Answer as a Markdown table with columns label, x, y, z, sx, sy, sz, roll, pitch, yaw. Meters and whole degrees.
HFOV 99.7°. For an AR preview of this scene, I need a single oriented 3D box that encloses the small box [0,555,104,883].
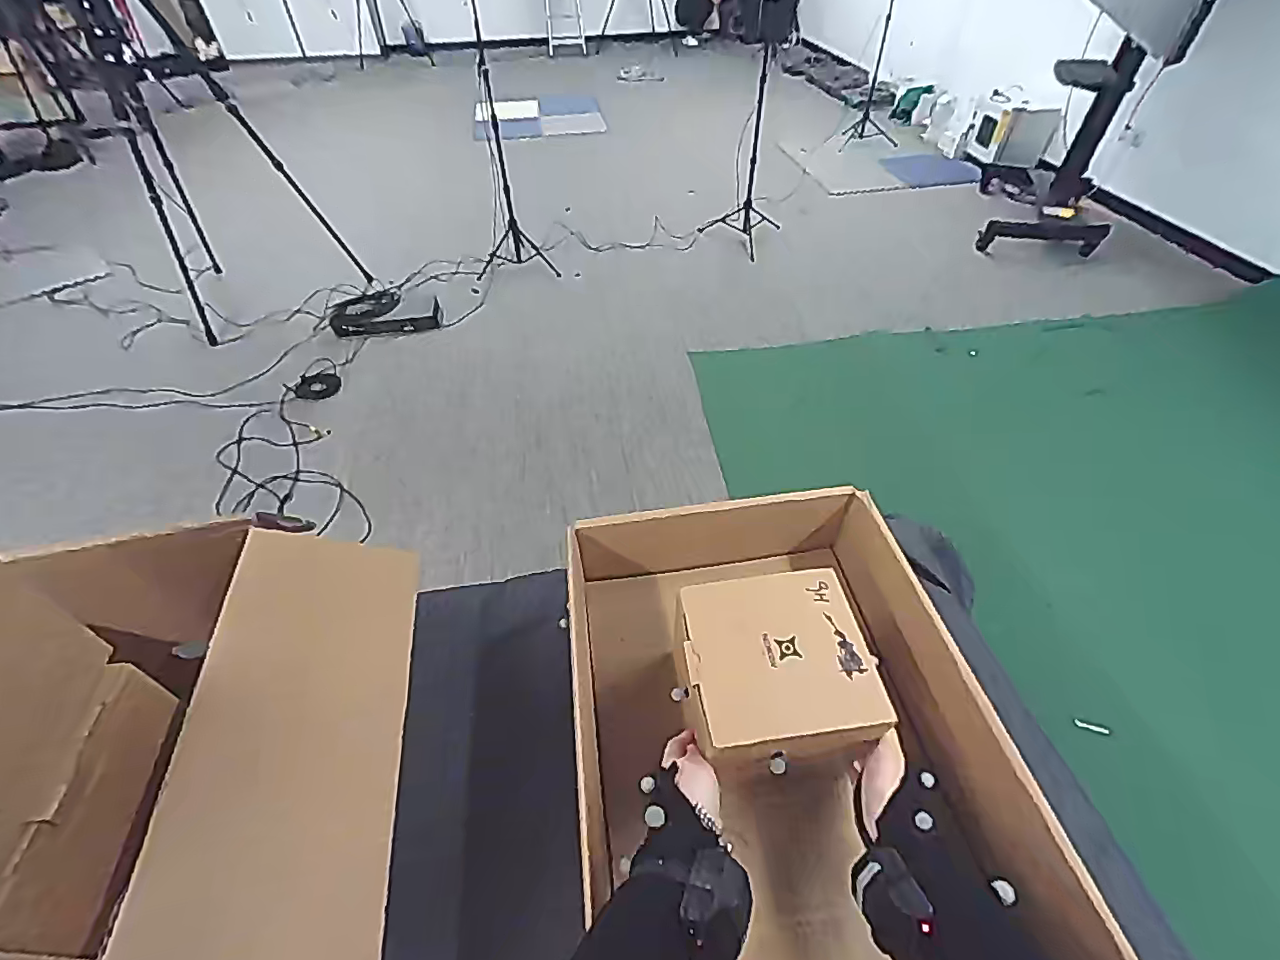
| label | x | y | z | sx | sy | sz | roll | pitch | yaw |
| --- | --- | --- | --- | --- | --- | --- | --- | --- | --- |
| small box | -0.450 | 0.139 | 0.282 | 0.168 | 0.176 | 0.179 | -5 | 47 | -10 |
